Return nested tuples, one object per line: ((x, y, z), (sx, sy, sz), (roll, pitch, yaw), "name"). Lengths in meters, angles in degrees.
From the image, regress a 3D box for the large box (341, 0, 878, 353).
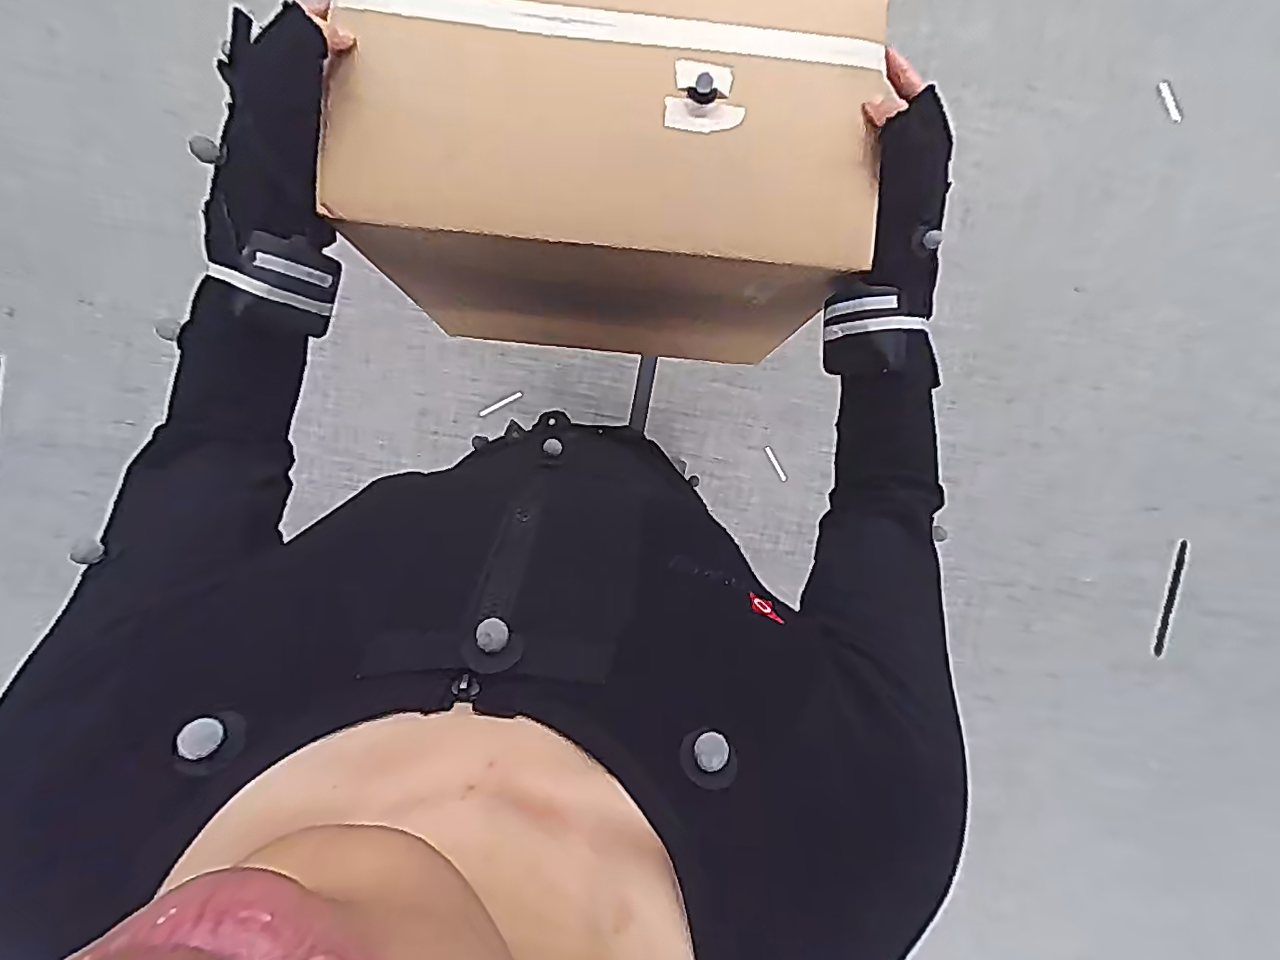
((-0.026, -0.332, 0.560), (0.408, 0.320, 0.320), (4, 89, -4), "large box")

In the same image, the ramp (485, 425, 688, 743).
((-0.181, 0.355, 1.617), (0.509, 0.206, 0.991), (7, 96, -4), "ramp")
